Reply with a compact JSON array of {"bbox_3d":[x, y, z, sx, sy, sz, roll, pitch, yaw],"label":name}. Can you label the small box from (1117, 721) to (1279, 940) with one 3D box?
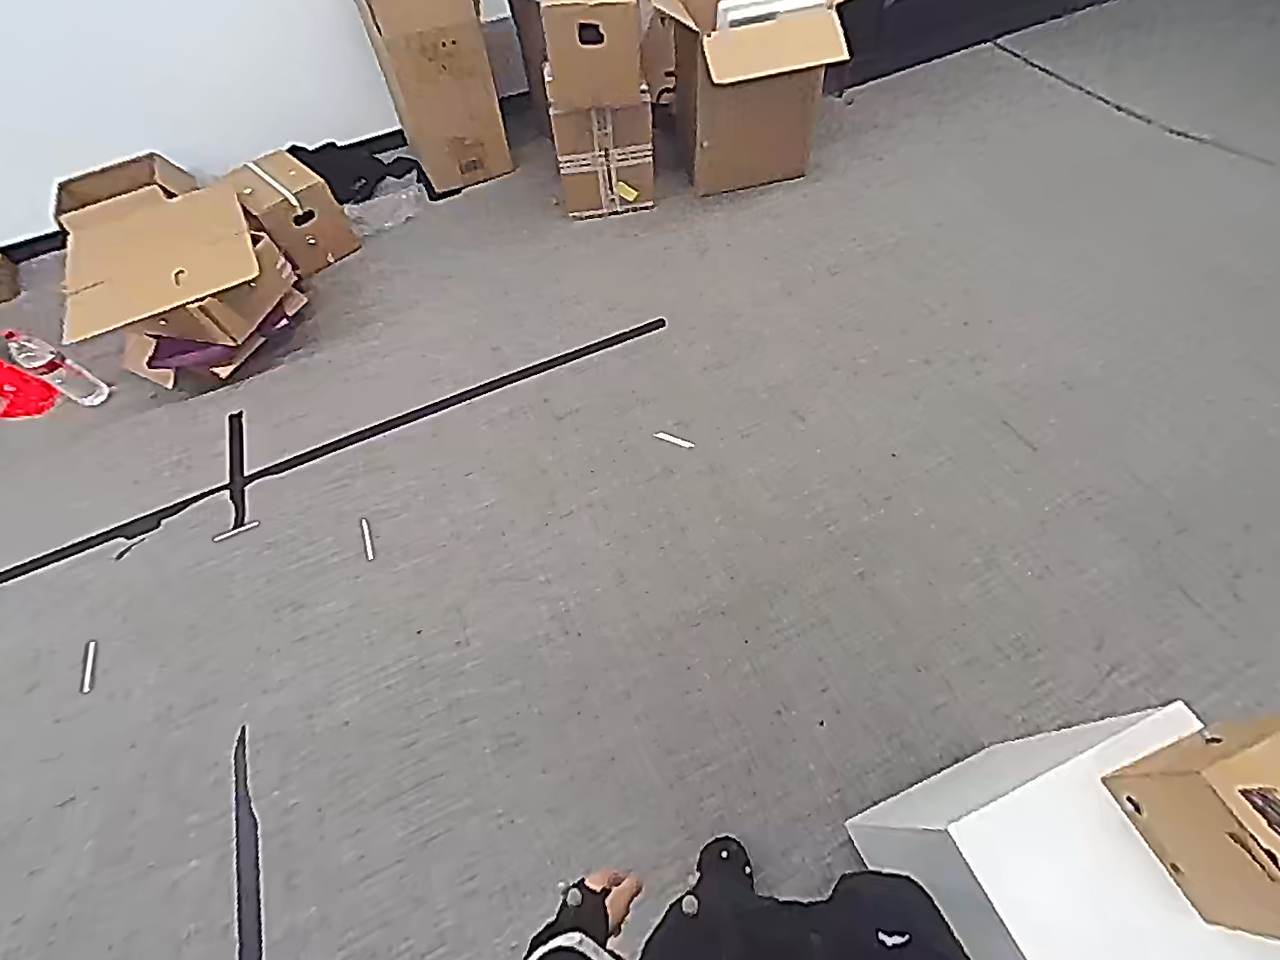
[{"bbox_3d":[0.710,0.395,0.617,0.179,0.176,0.168,-20,59,-7],"label":"small box"}]
